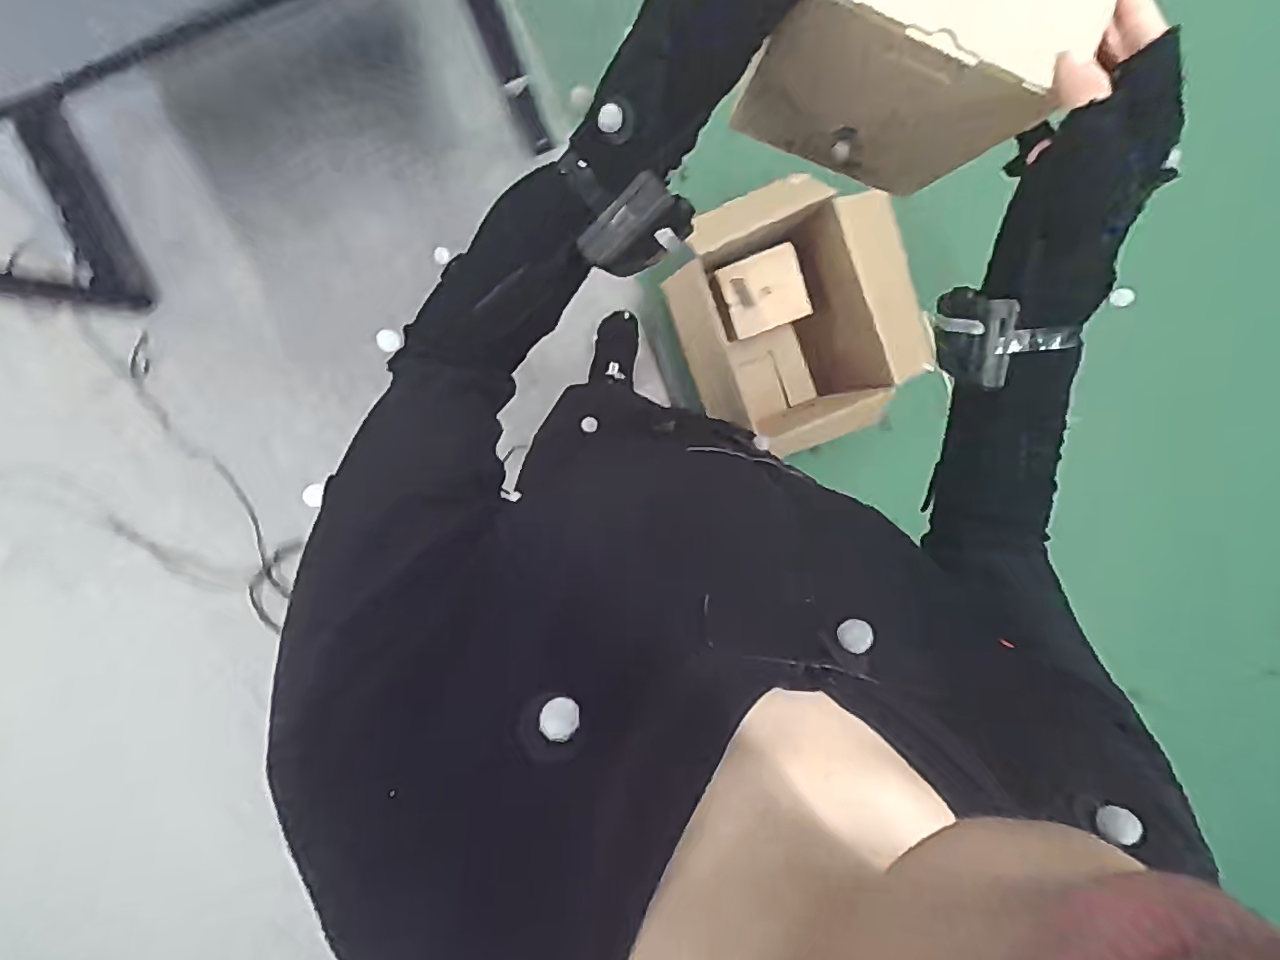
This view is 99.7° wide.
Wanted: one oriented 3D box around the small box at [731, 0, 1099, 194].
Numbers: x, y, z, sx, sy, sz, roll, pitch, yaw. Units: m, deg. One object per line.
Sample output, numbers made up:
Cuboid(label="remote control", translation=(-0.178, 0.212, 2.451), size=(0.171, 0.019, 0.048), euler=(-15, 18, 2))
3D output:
Cuboid(label="small box", translation=(0.174, -0.328, 0.358), size=(0.168, 0.176, 0.179), euler=(16, 99, -7))
